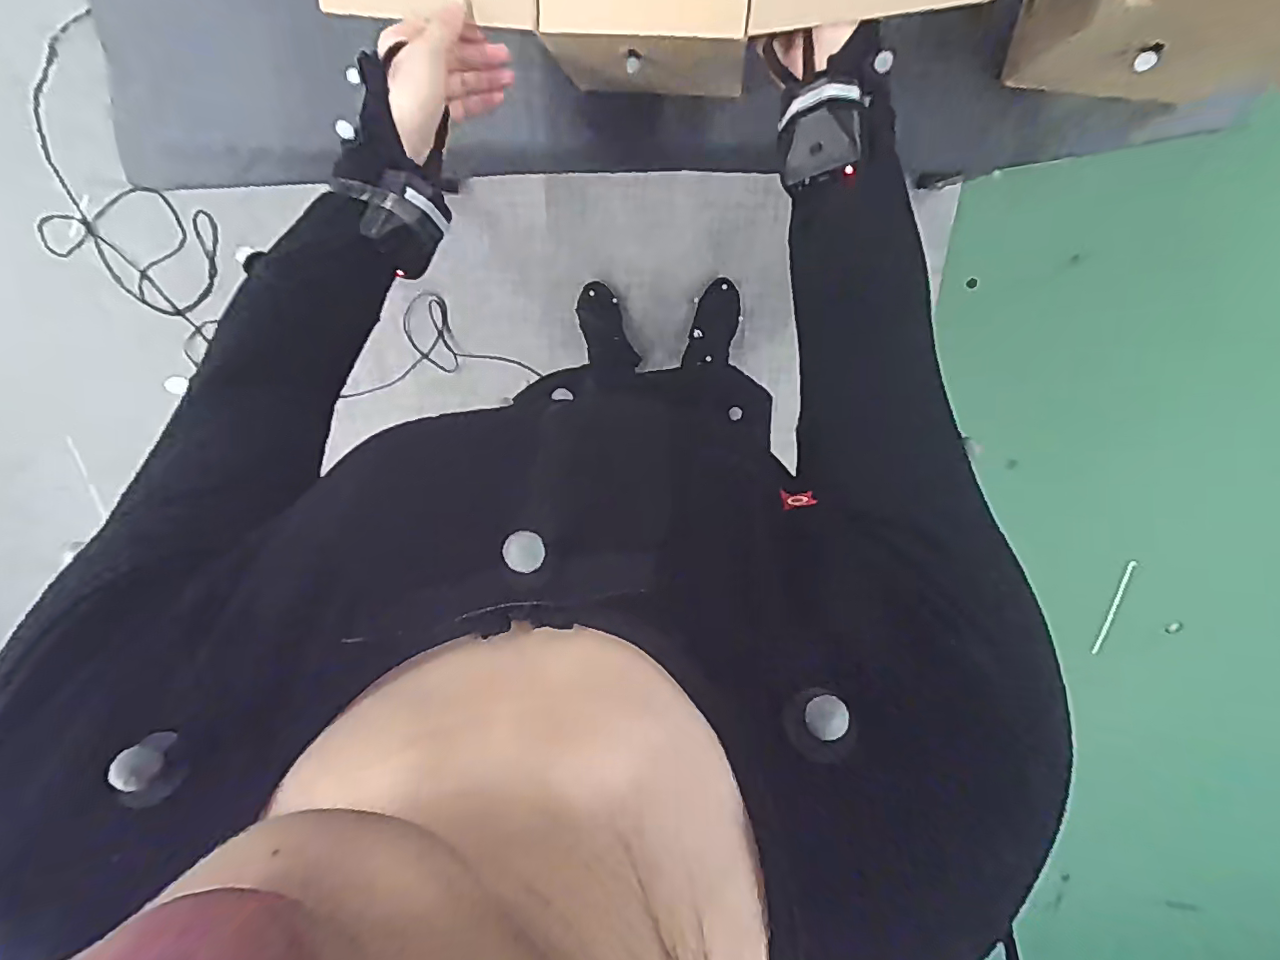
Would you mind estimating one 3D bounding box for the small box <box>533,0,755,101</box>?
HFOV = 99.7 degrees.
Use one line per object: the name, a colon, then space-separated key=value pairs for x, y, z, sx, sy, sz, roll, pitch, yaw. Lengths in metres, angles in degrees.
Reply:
small box: x=0.015 y=-0.452 z=0.473 sx=0.179 sy=0.176 sz=0.168 roll=7 pitch=114 yaw=5
